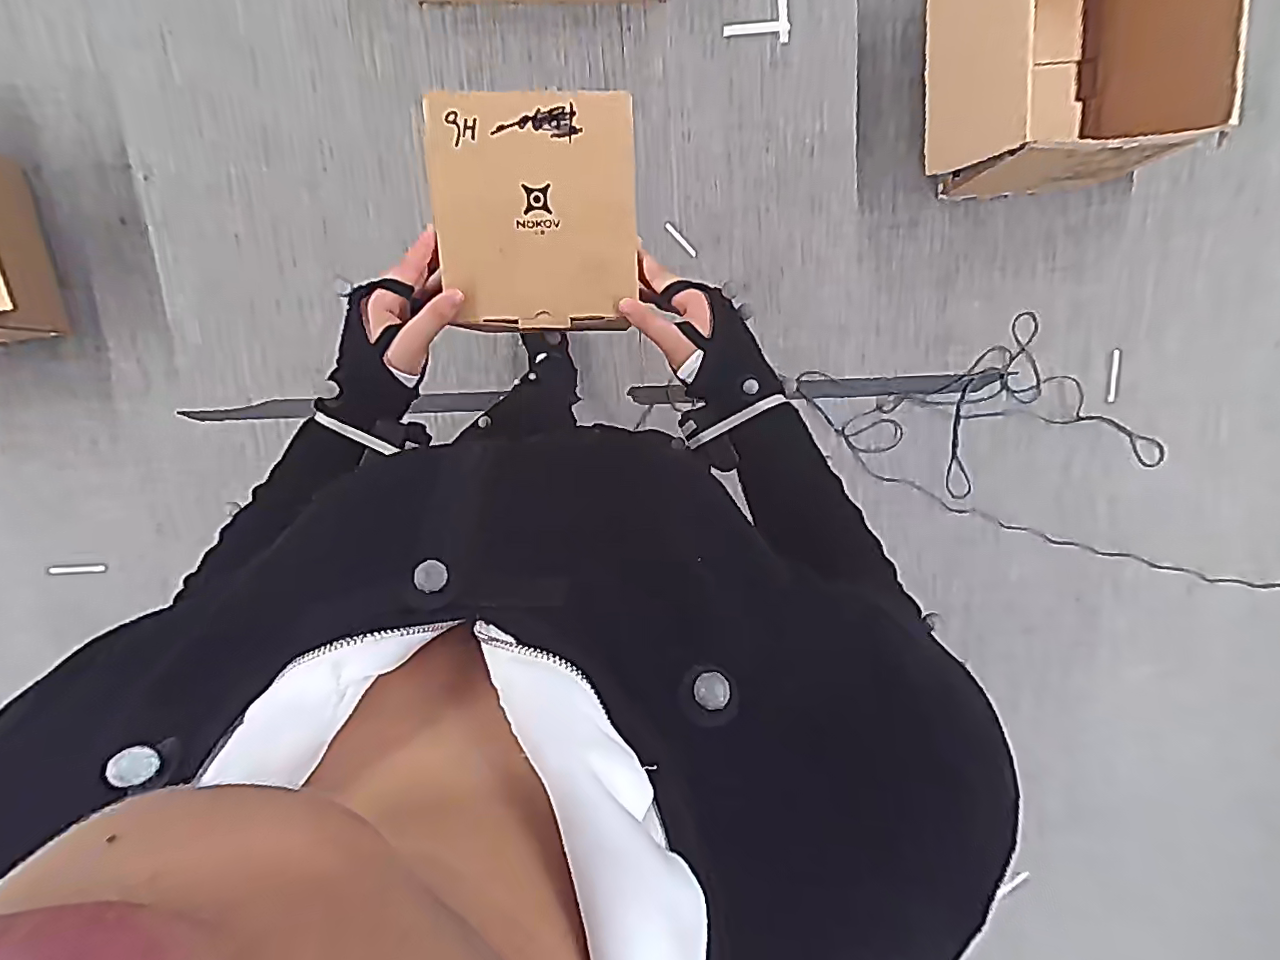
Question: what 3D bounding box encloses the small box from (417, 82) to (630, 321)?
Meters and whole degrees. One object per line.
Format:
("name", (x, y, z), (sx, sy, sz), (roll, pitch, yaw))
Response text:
("small box", (-0.094, -0.245, 0.518), (0.168, 0.176, 0.179), (-3, 104, -4))
